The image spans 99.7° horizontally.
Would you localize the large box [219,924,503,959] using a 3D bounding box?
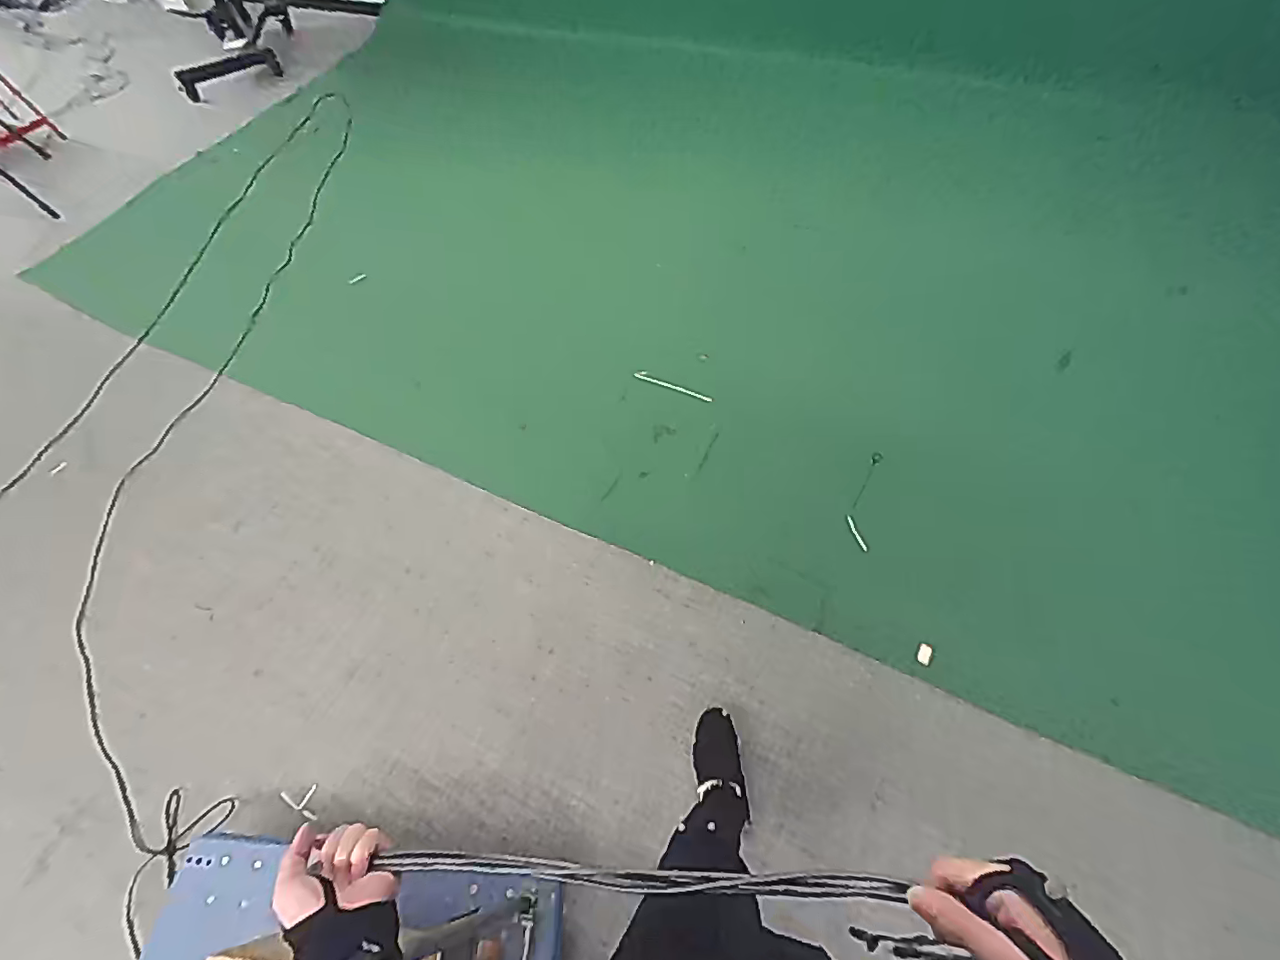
[{"bbox_3d":[-0.488,0.980,0.900,0.408,0.320,0.320,0,59,8],"label":"large box"}]
